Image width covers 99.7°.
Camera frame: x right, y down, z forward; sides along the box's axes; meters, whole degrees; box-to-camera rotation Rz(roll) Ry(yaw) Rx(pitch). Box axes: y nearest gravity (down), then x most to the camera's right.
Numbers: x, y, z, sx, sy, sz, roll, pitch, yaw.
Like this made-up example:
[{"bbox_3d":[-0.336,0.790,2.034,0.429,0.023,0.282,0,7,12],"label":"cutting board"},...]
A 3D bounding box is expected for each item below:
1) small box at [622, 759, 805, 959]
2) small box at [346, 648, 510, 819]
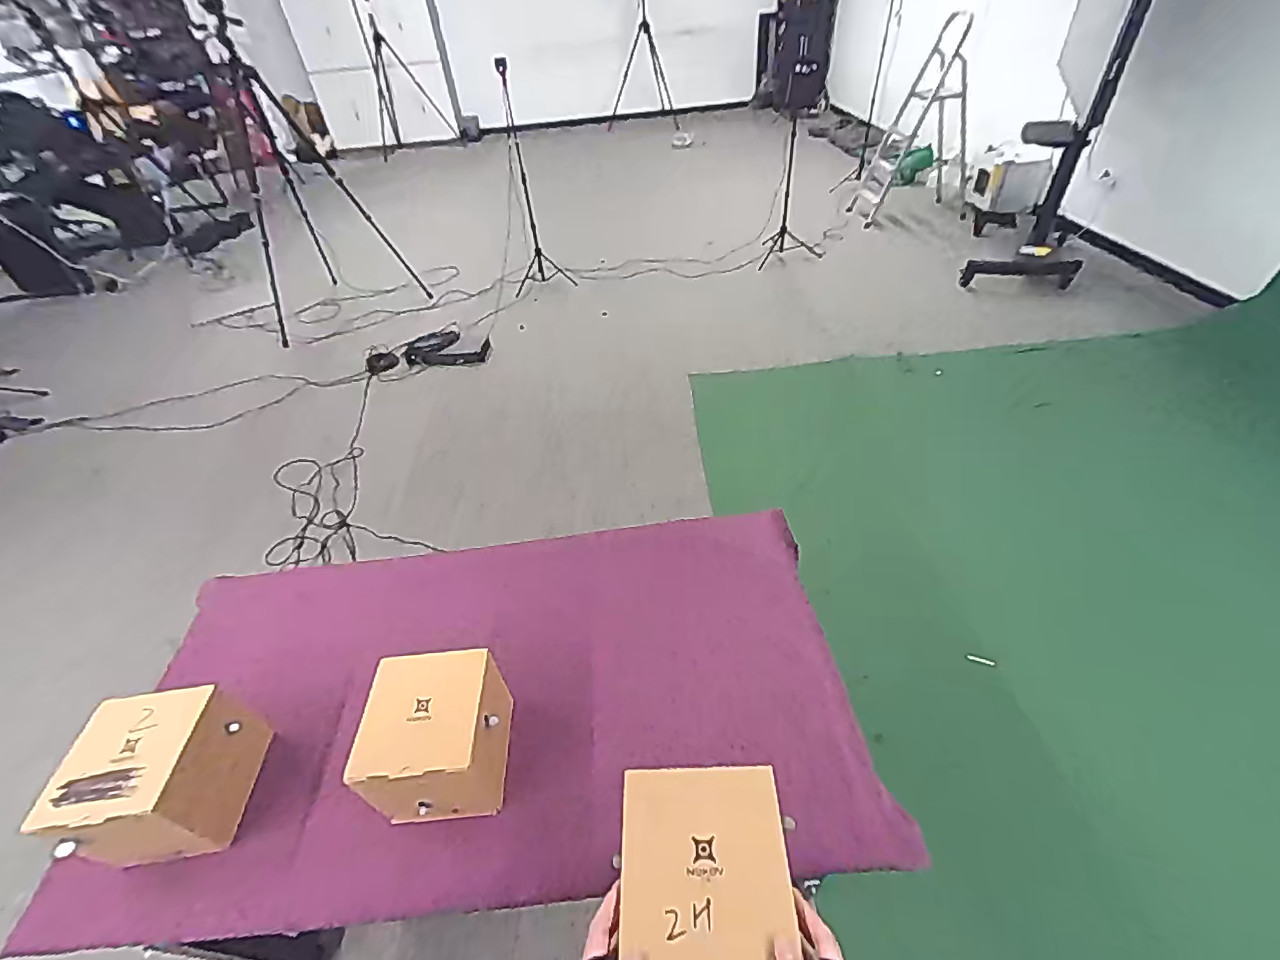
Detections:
[{"bbox_3d":[0.075,0.431,0.592,0.168,0.176,0.179,-4,41,5],"label":"small box"},{"bbox_3d":[-0.298,0.377,0.806,0.168,0.176,0.179,-5,43,0],"label":"small box"}]
